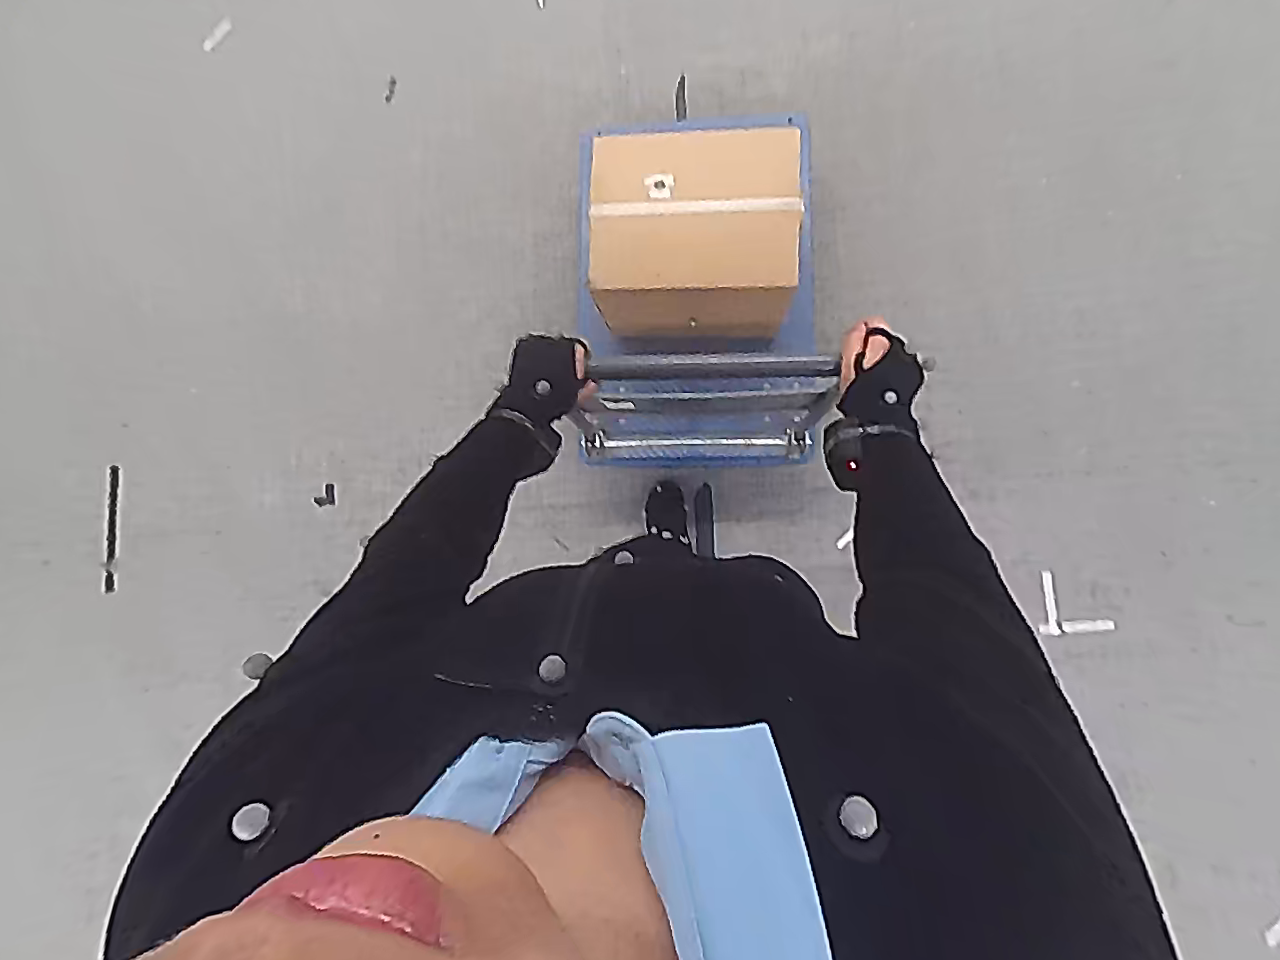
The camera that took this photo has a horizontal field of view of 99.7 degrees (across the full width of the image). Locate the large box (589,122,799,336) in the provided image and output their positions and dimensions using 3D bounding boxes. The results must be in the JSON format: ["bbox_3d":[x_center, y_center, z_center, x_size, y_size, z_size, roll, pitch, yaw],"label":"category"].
[{"bbox_3d":[0.120,-0.515,1.182,0.408,0.320,0.320,1,86,8],"label":"large box"}]
